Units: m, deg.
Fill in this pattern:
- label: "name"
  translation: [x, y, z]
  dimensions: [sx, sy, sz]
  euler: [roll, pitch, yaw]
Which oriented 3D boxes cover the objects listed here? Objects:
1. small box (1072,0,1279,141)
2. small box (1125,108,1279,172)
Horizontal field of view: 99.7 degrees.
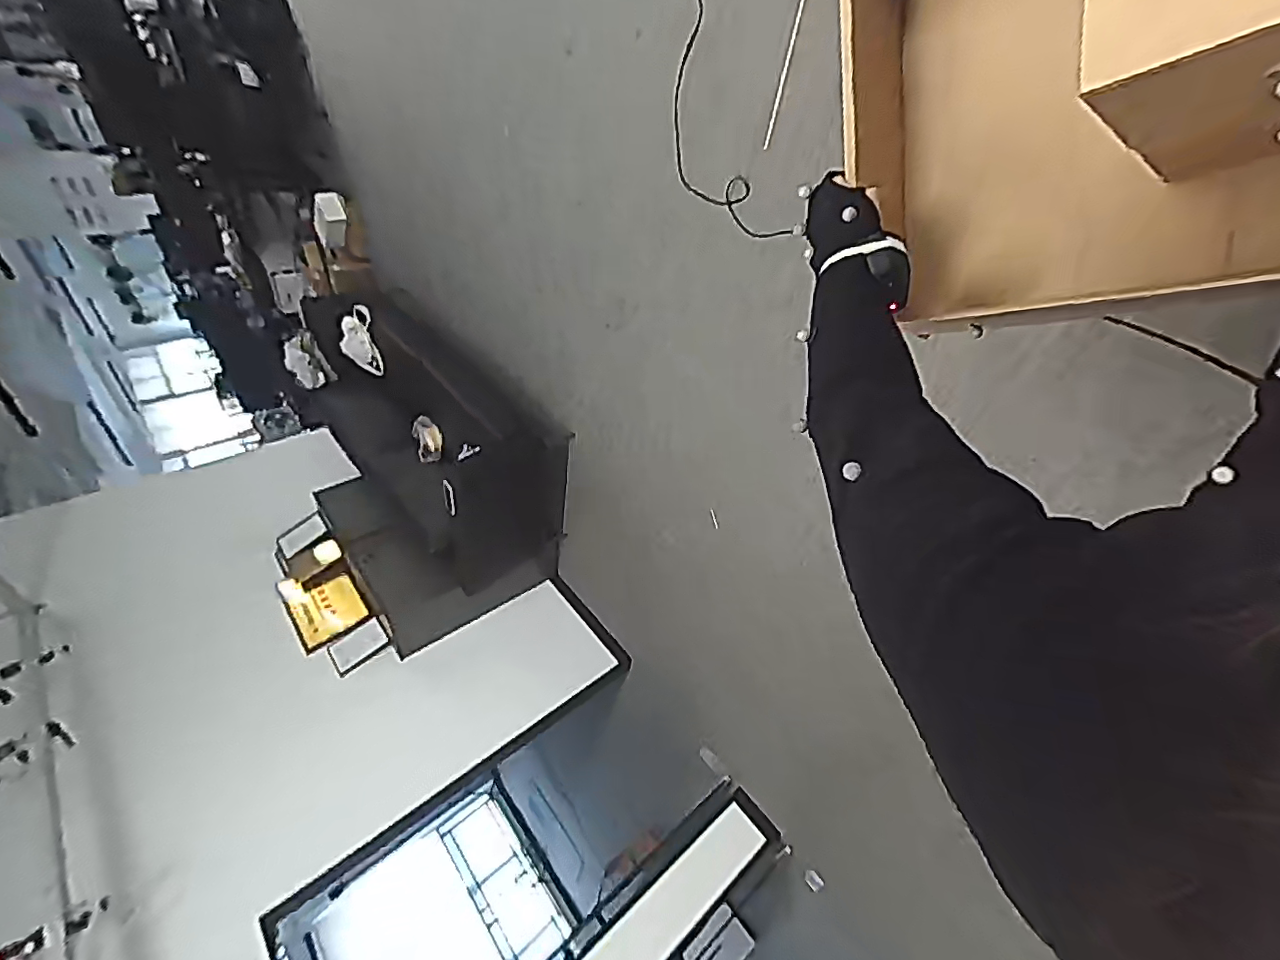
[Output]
- label: "small box"
  translation: [0.357, -0.305, 0.279]
  dimensions: [0.179, 0.176, 0.168]
  euler: [9, 108, 49]
- label: "small box"
  translation: [0.479, -0.341, 0.382]
  dimensions: [0.179, 0.176, 0.168]
  euler: [7, 108, 48]
